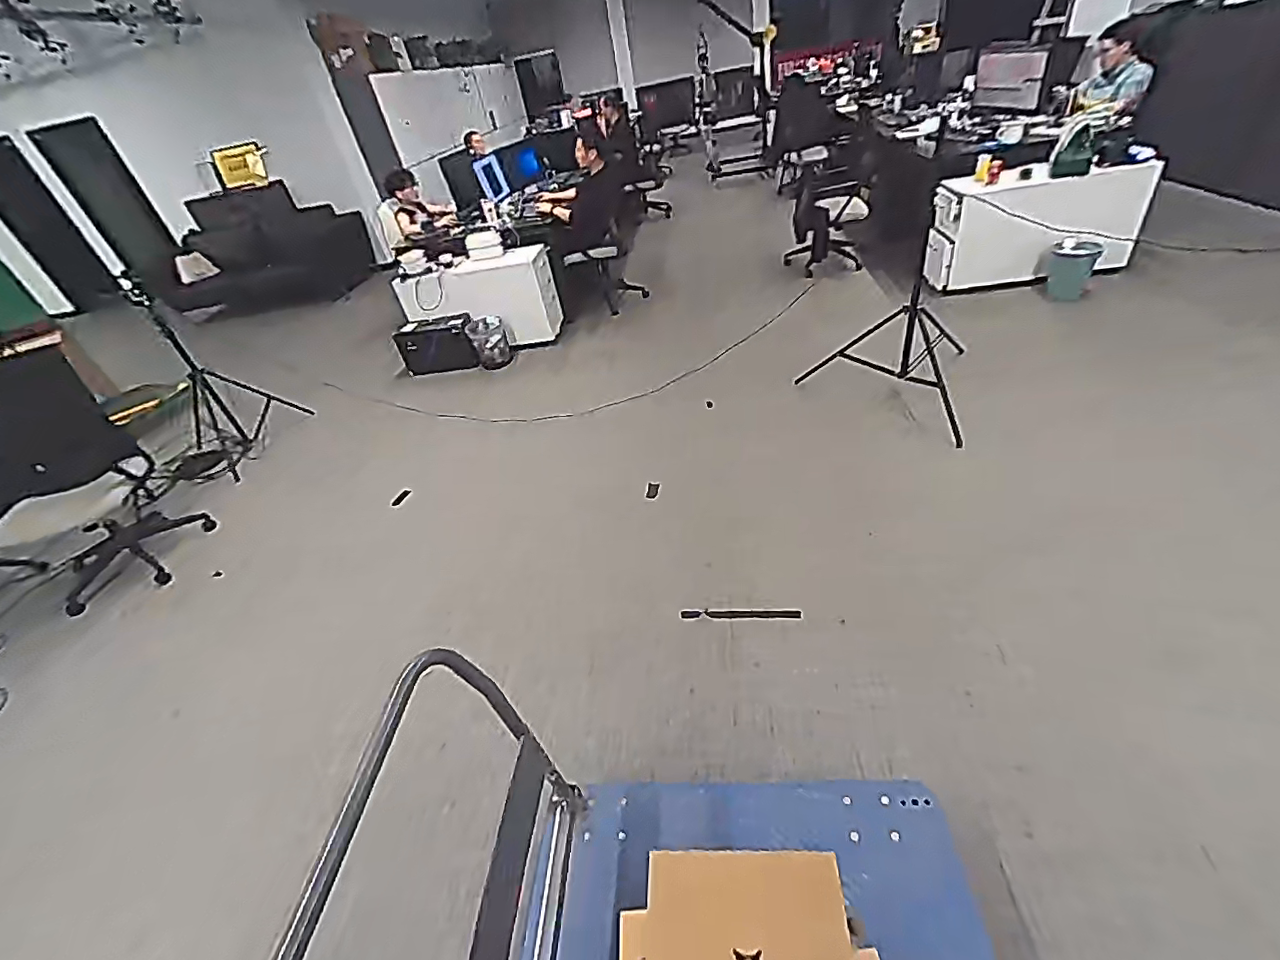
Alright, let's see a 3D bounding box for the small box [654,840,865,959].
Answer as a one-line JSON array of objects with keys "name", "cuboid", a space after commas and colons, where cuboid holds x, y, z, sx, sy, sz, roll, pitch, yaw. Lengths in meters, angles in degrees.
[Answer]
[{"name": "small box", "cuboid": [0.107, 0.437, 0.469, 0.168, 0.176, 0.179, -7, 43, 11]}]
